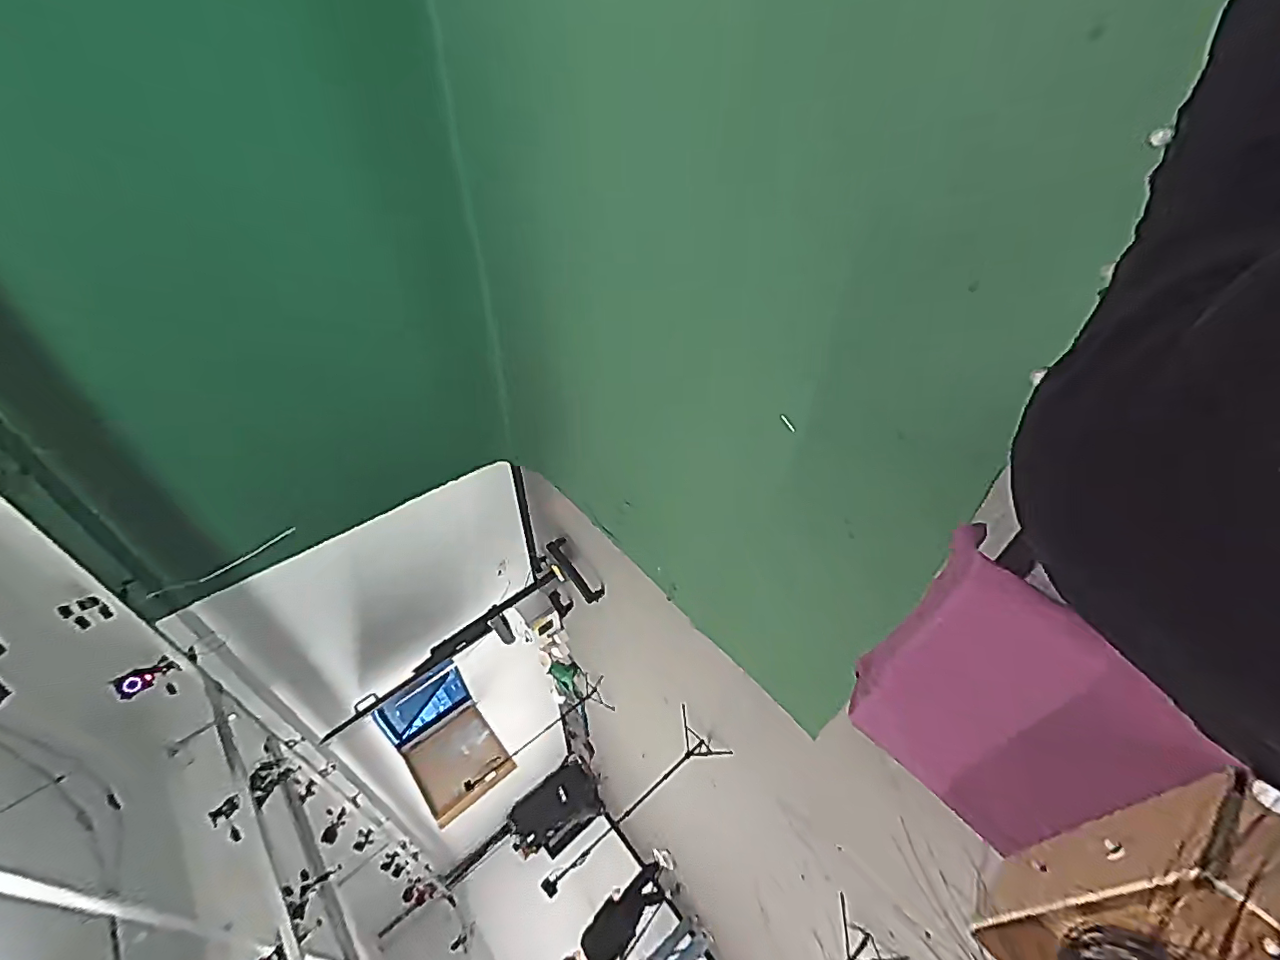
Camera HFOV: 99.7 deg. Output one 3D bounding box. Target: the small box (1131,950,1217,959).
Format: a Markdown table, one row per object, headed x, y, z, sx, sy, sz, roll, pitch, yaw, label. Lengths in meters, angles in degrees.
| x | y | z | sx | sy | sz | roll | pitch | yaw | label |
| --- | --- | --- | --- | --- | --- | --- | --- | --- | --- |
| 0.857 | 0.859 | 0.815 | 0.168 | 0.176 | 0.179 | 41 | 145 | 31 | small box |
